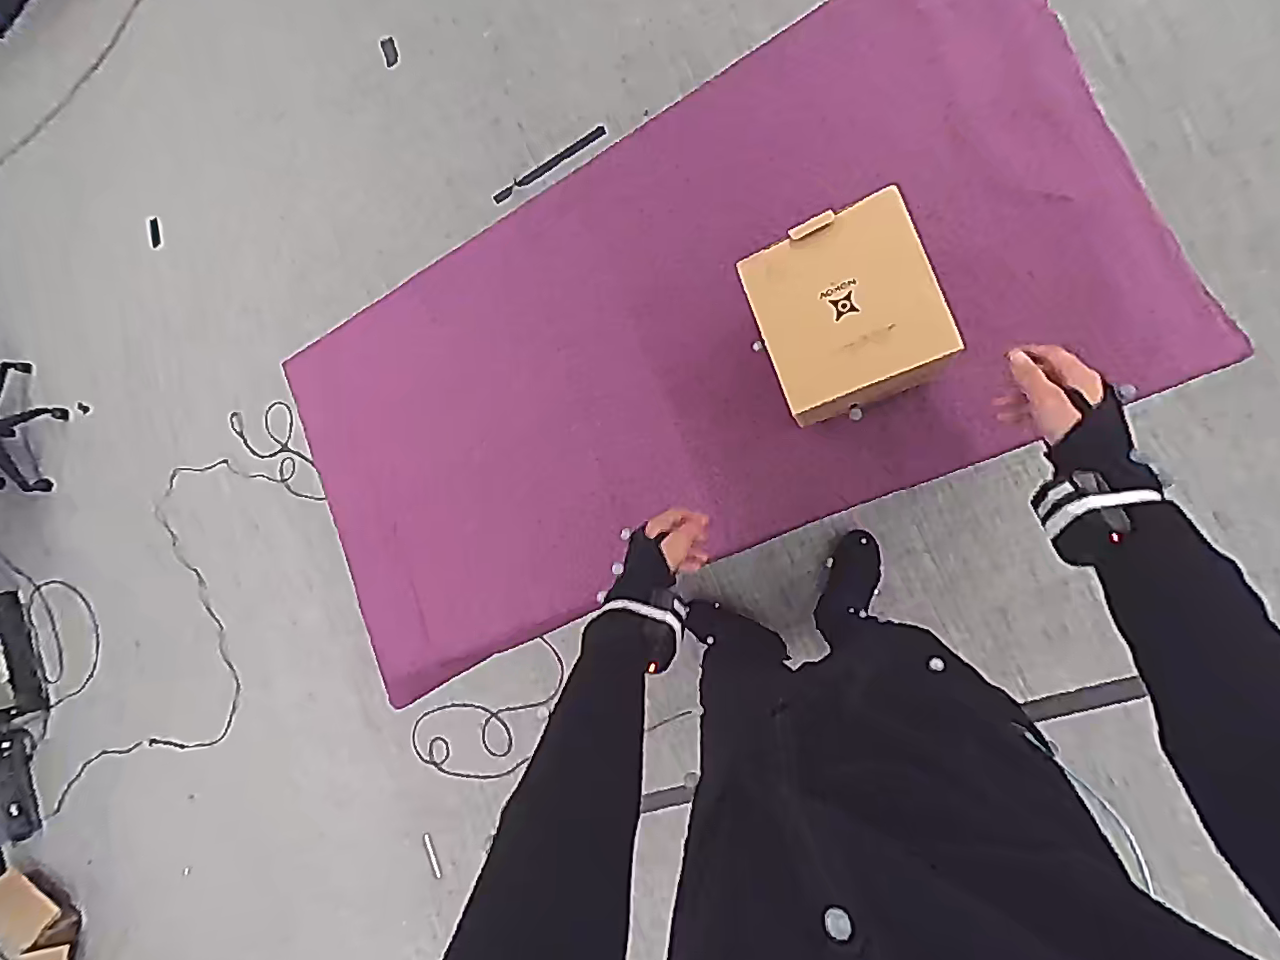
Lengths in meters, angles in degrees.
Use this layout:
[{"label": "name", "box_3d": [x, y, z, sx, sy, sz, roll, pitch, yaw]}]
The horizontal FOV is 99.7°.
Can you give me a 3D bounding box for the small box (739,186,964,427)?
[{"label": "small box", "box_3d": [0.224, -0.172, 0.601, 0.168, 0.176, 0.179, -21, 83, 19]}]
